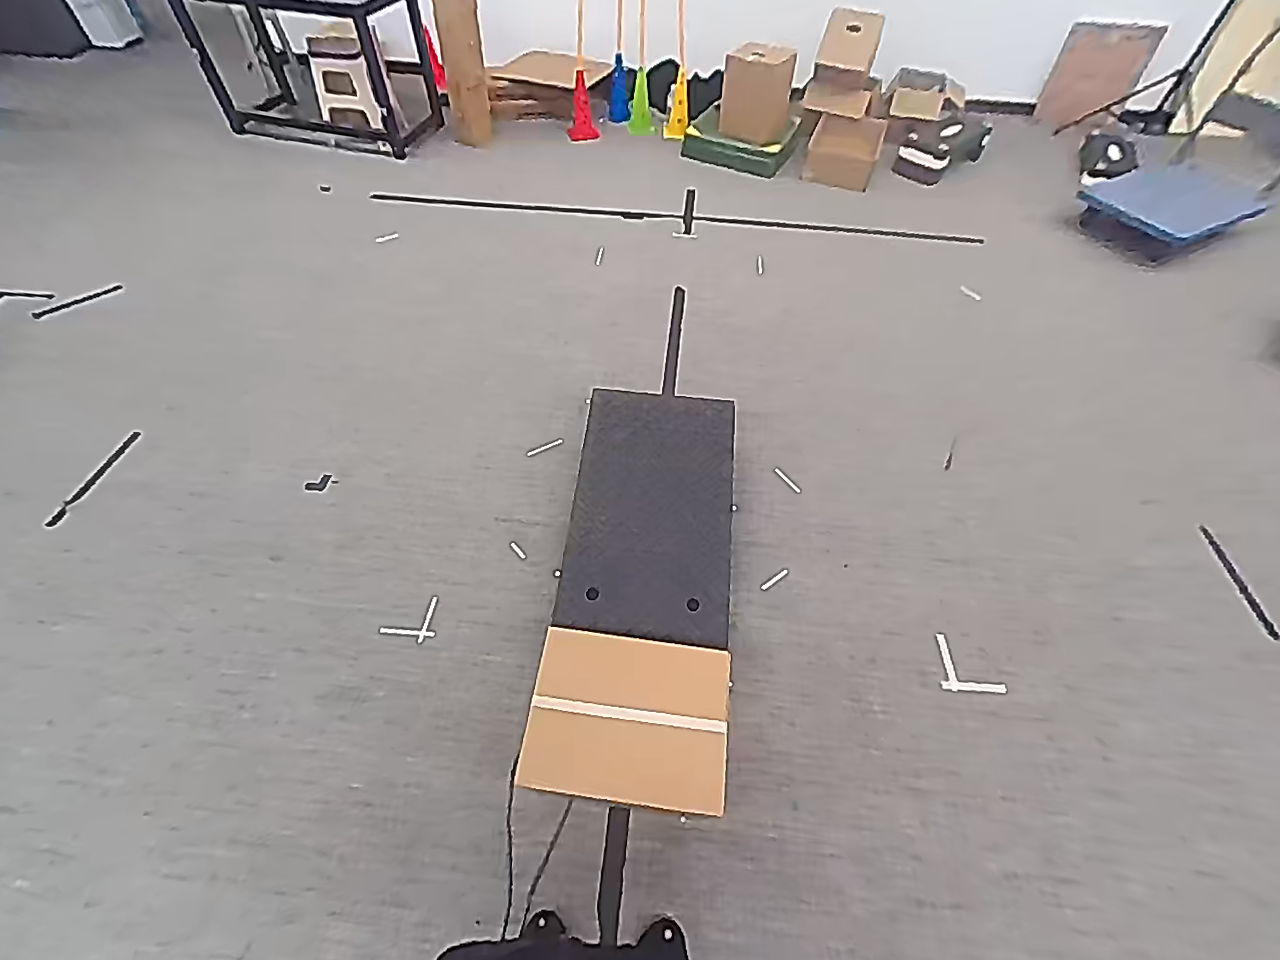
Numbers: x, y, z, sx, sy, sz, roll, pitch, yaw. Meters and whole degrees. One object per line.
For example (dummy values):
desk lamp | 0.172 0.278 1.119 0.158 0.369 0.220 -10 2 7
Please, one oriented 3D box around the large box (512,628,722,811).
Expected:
large box | -0.036 0.556 1.238 0.408 0.320 0.320 7 57 2

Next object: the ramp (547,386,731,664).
ramp | 0.021 0.146 1.636 0.509 0.206 0.991 5 53 -1
